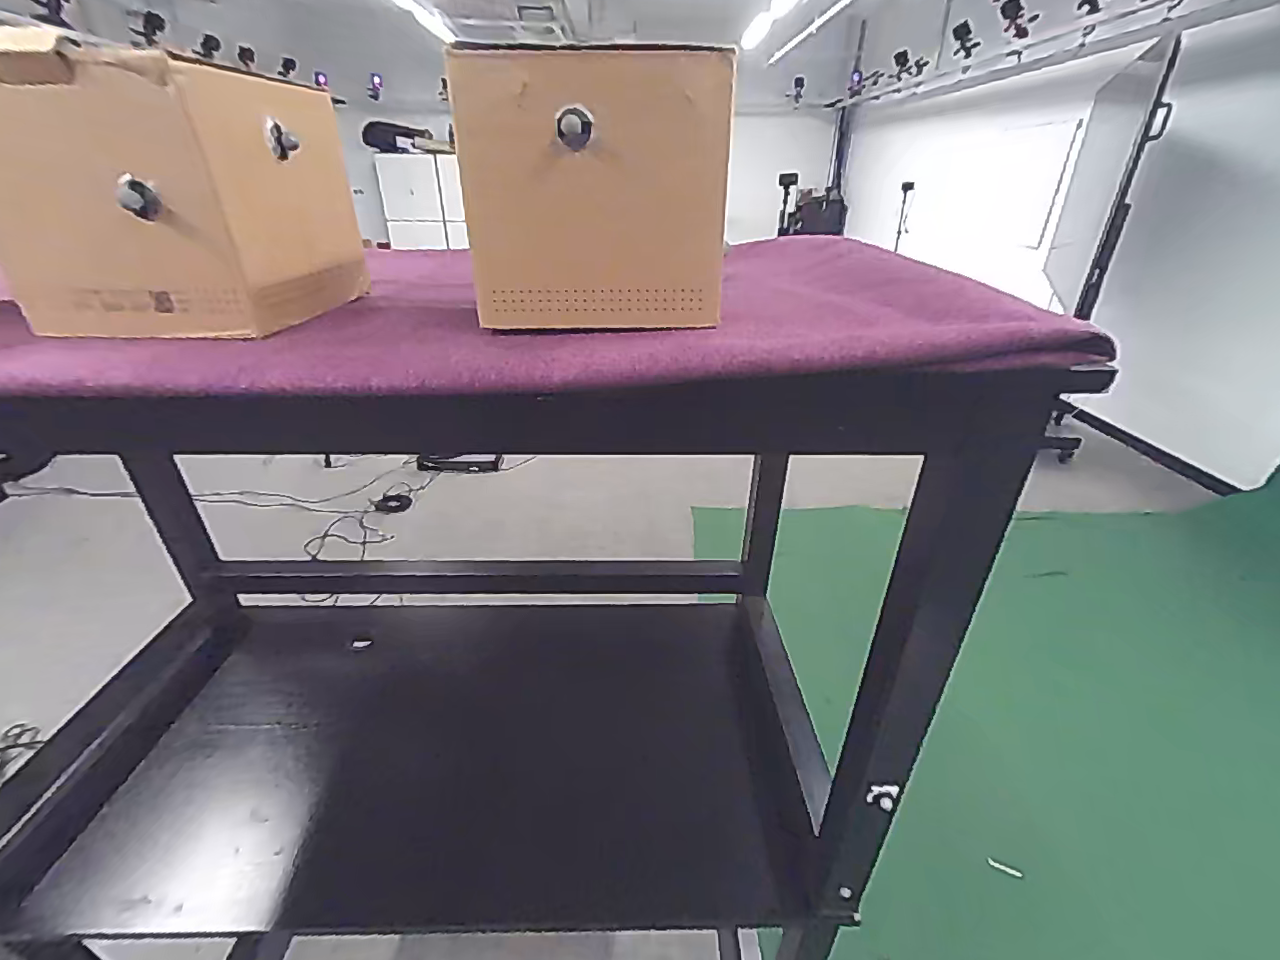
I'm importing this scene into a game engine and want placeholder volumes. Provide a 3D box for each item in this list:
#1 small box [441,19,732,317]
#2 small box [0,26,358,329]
[{"bbox_3d":[-0.031,-0.225,0.421,0.179,0.176,0.168,-1,27,-1],"label":"small box"},{"bbox_3d":[-0.343,-0.216,0.409,0.168,0.176,0.179,2,29,0],"label":"small box"}]
